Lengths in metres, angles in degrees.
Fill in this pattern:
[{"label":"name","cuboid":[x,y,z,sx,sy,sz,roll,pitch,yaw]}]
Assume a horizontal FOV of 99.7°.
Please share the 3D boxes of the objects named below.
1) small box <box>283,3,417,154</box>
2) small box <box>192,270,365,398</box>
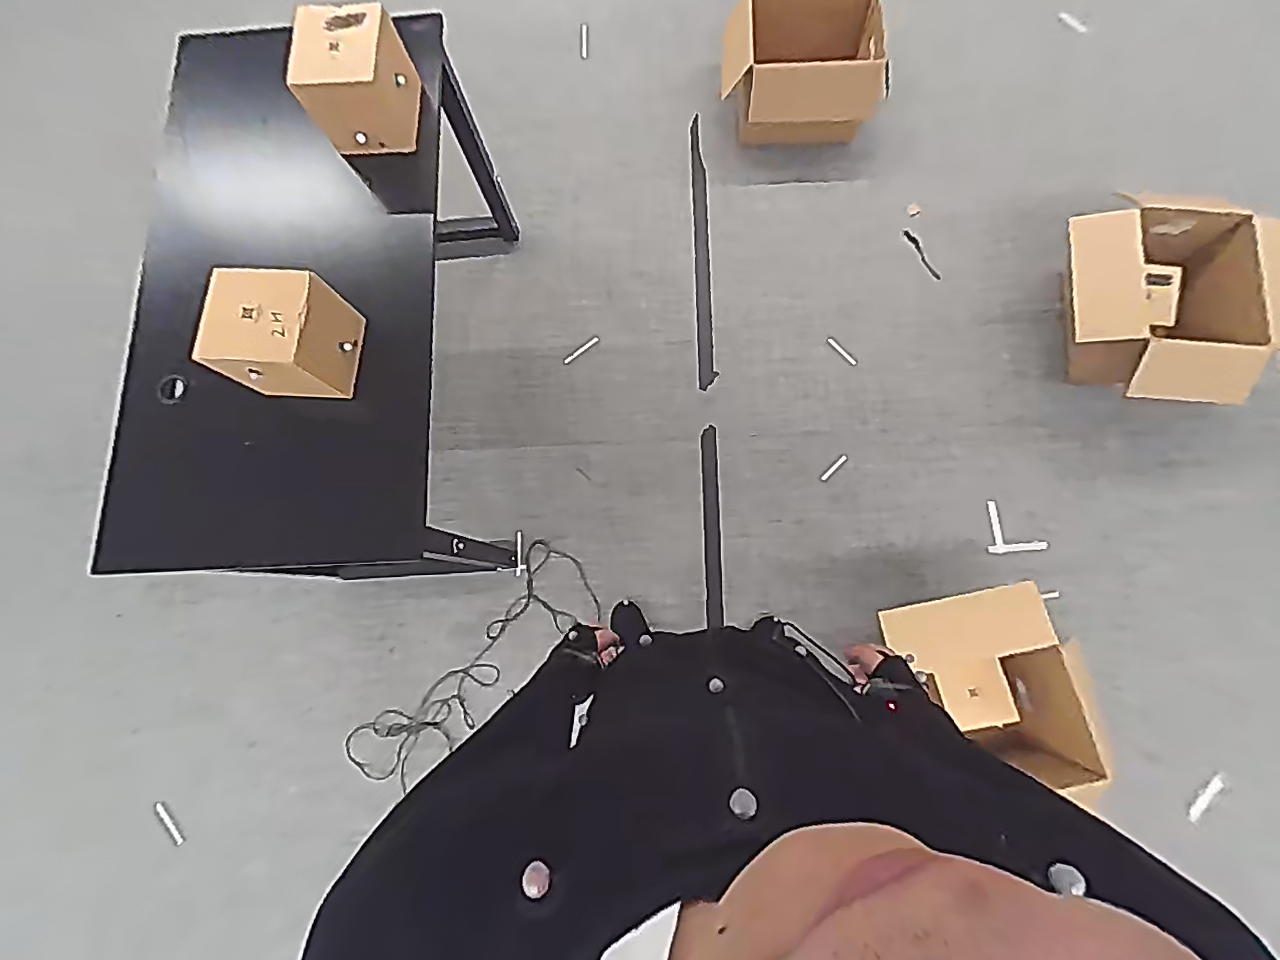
[{"label":"small box","cuboid":[-0.557,-0.780,1.063,0.168,0.176,0.179,-1,80,3]},{"label":"small box","cuboid":[-0.629,-0.251,0.962,0.179,0.176,0.168,3,79,3]}]
